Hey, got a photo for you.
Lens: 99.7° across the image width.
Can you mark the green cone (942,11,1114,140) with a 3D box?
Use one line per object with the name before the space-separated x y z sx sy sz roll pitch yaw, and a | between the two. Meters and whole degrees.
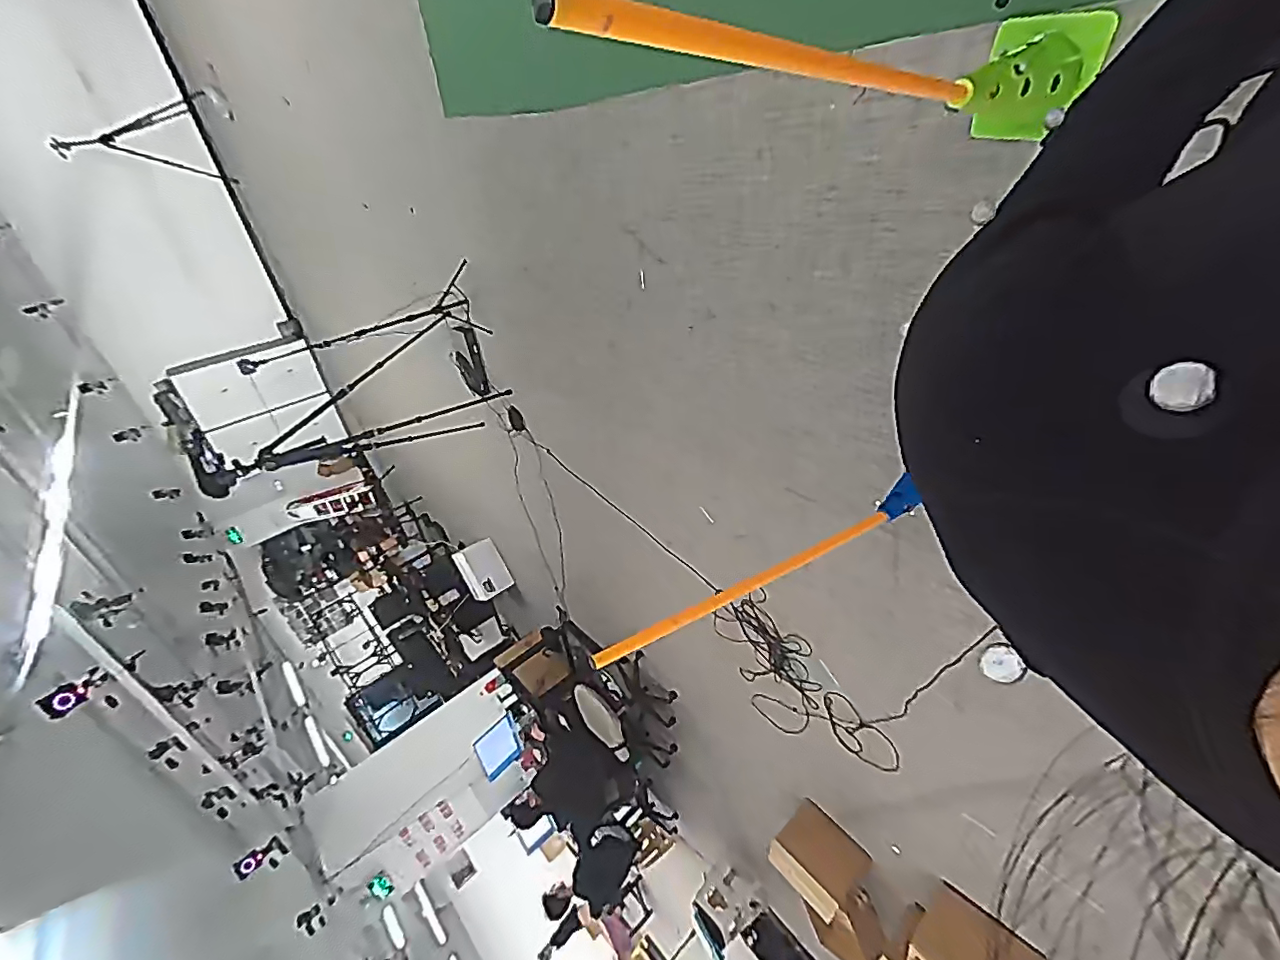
green cone | 0.664 -0.727 0.991 0.202 0.368 0.200 33 139 38
